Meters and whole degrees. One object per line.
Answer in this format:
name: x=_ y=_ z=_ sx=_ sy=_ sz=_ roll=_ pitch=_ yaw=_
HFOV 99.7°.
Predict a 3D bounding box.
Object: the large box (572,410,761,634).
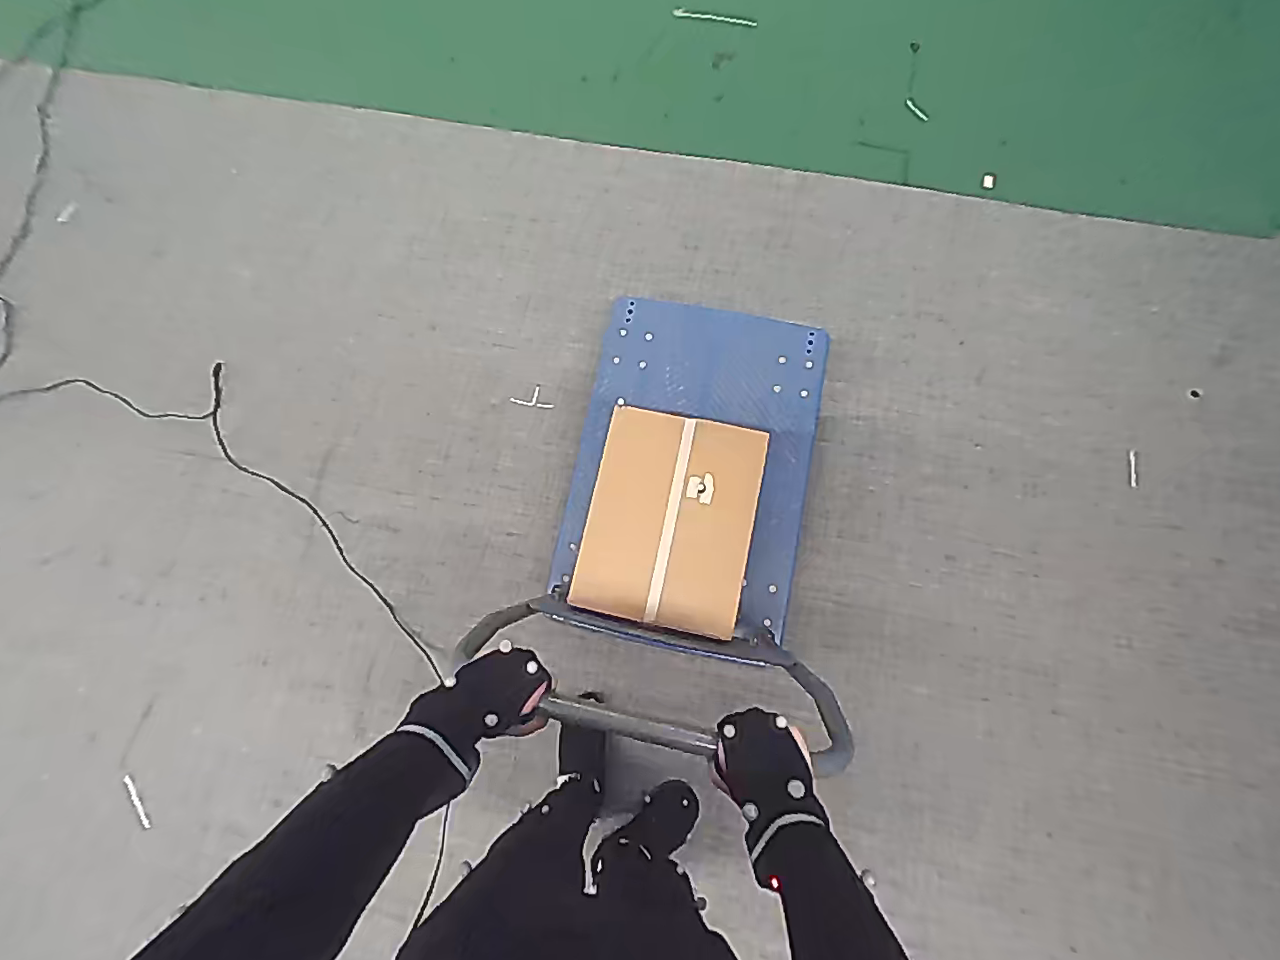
large box: x=0.065 y=0.106 z=1.198 sx=0.320 sy=0.320 sz=0.408 roll=12 pitch=78 yaw=5
